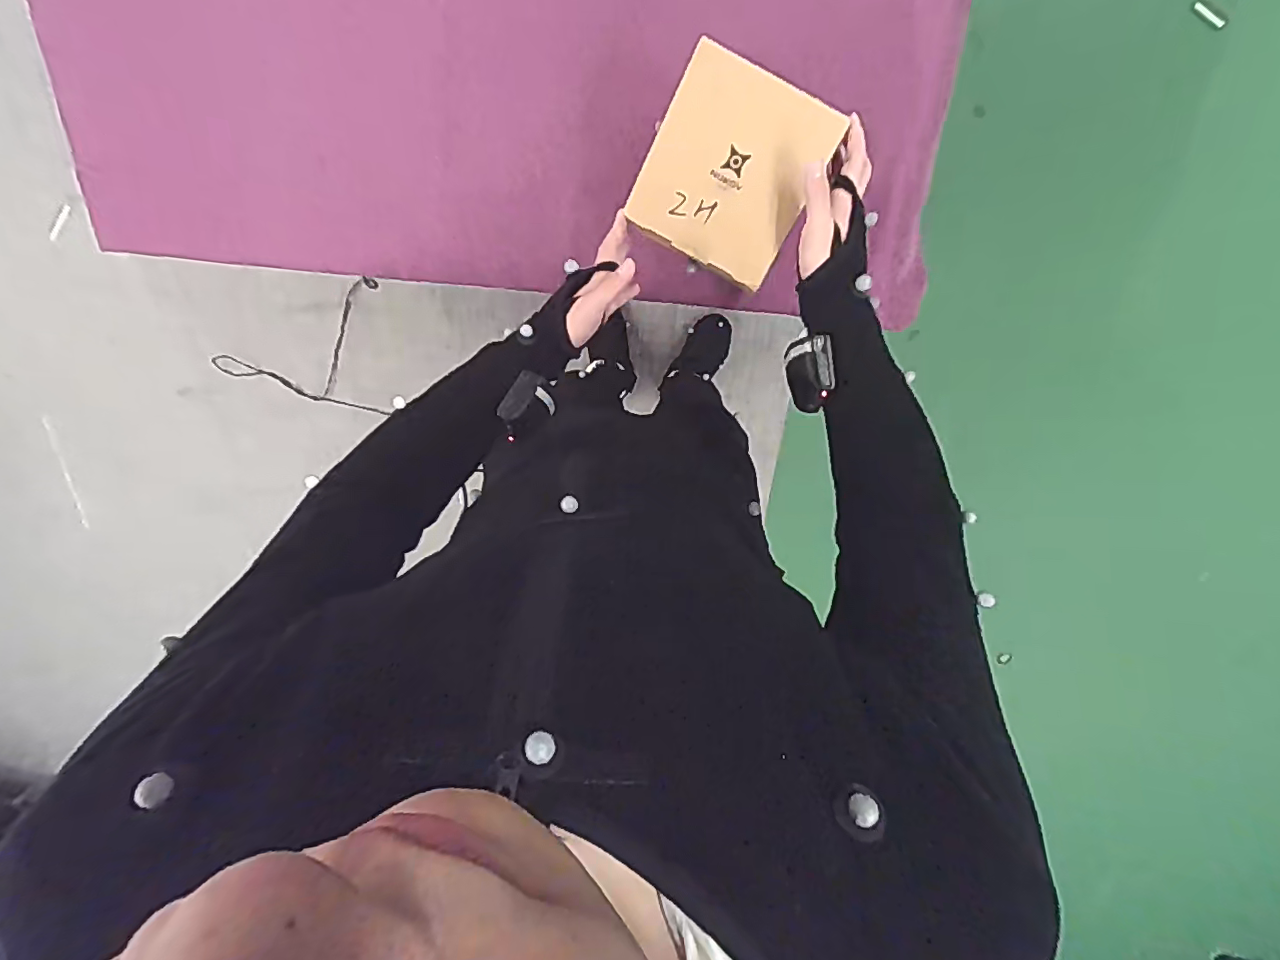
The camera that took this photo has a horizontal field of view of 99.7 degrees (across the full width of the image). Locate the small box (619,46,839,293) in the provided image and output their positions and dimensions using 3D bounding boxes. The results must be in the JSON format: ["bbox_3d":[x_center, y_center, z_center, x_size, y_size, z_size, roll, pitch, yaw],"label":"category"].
[{"bbox_3d":[0.099,-0.336,0.626,0.168,0.176,0.179,29,112,1],"label":"small box"}]
